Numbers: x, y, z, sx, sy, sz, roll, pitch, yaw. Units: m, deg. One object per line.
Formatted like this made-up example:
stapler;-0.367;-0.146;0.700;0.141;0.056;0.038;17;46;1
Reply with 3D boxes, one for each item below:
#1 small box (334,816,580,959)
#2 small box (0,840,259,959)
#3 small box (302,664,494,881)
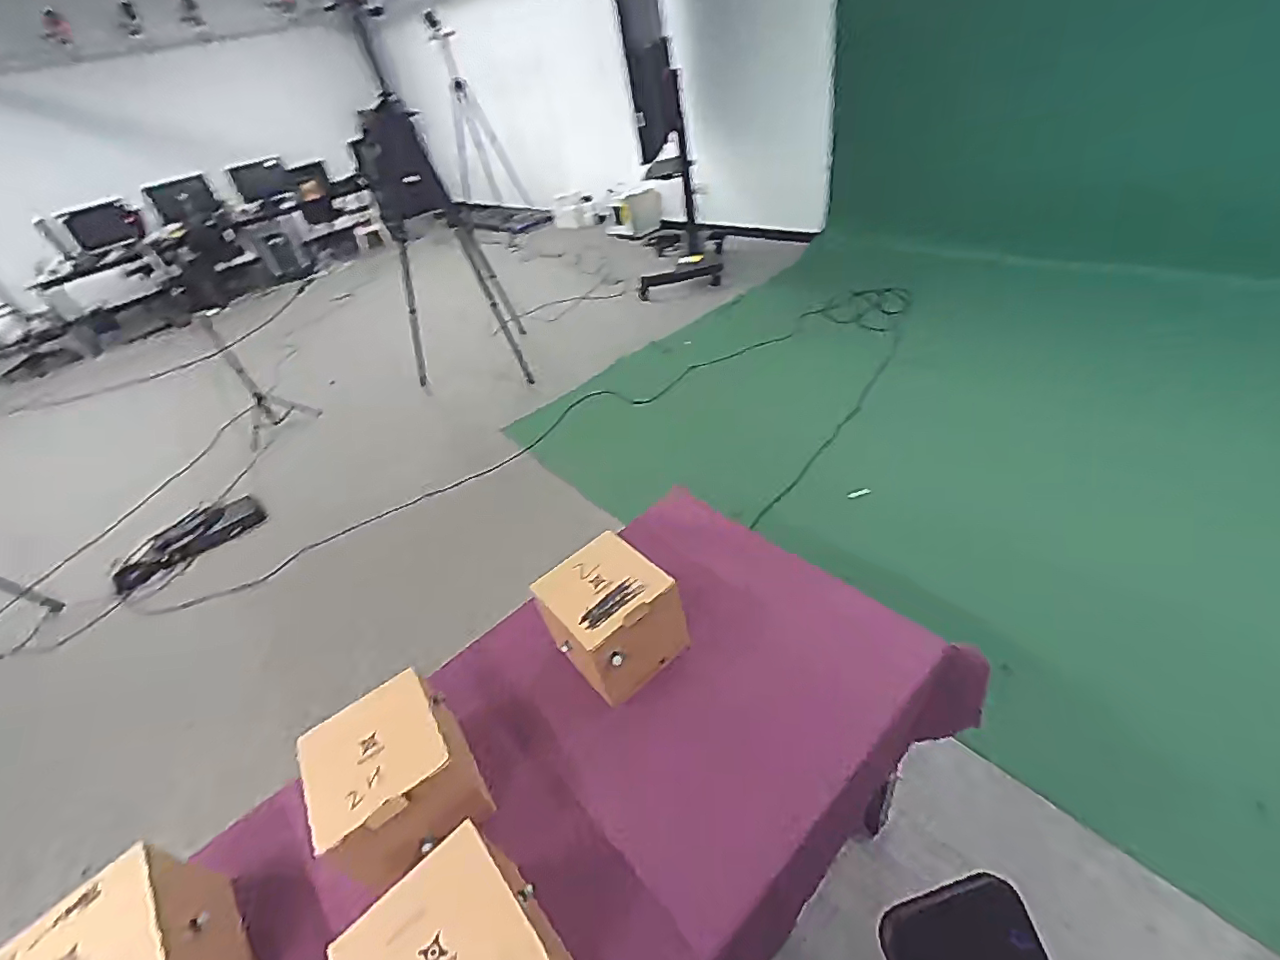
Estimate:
small box;-0.179;0.513;0.572;0.168;0.176;0.179;-36;43;-26
small box;-0.579;0.570;0.620;0.179;0.176;0.168;26;53;37
small box;-0.330;0.402;0.748;0.168;0.176;0.179;-32;43;-20
